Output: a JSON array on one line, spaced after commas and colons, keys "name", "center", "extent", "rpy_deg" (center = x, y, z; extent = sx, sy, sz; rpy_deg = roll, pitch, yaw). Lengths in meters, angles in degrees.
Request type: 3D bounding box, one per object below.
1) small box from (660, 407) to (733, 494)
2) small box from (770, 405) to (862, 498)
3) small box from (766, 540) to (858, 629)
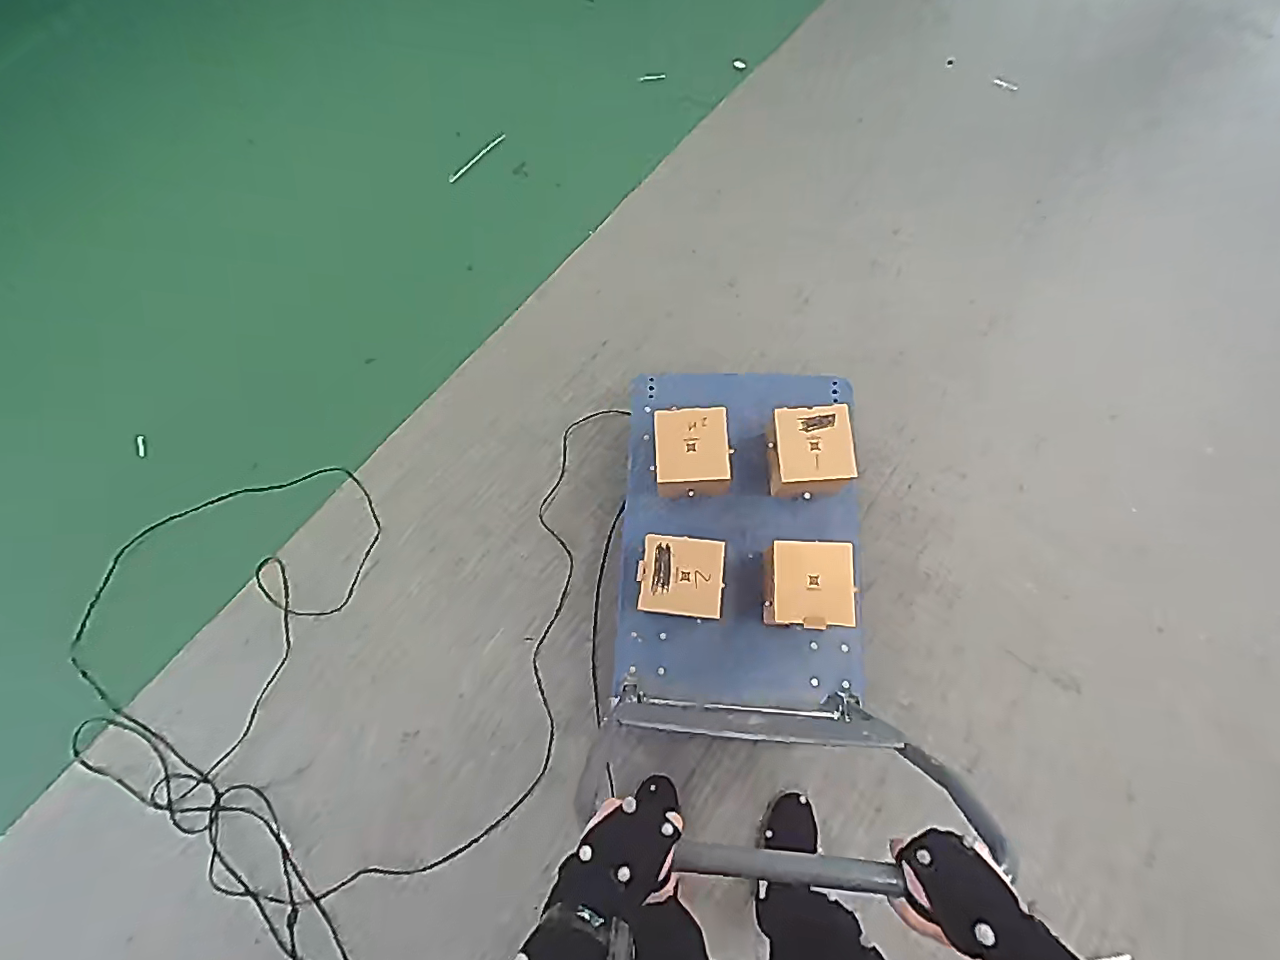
[{"name": "small box", "center": [0.134, -0.063, 1.302], "extent": [0.168, 0.176, 0.179], "rpy_deg": [-2, 76, 4]}, {"name": "small box", "center": [0.407, -0.062, 1.277], "extent": [0.168, 0.176, 0.179], "rpy_deg": [-3, 76, 5]}, {"name": "small box", "center": [0.376, 0.236, 1.206], "extent": [0.168, 0.176, 0.179], "rpy_deg": [2, 77, 6]}]
